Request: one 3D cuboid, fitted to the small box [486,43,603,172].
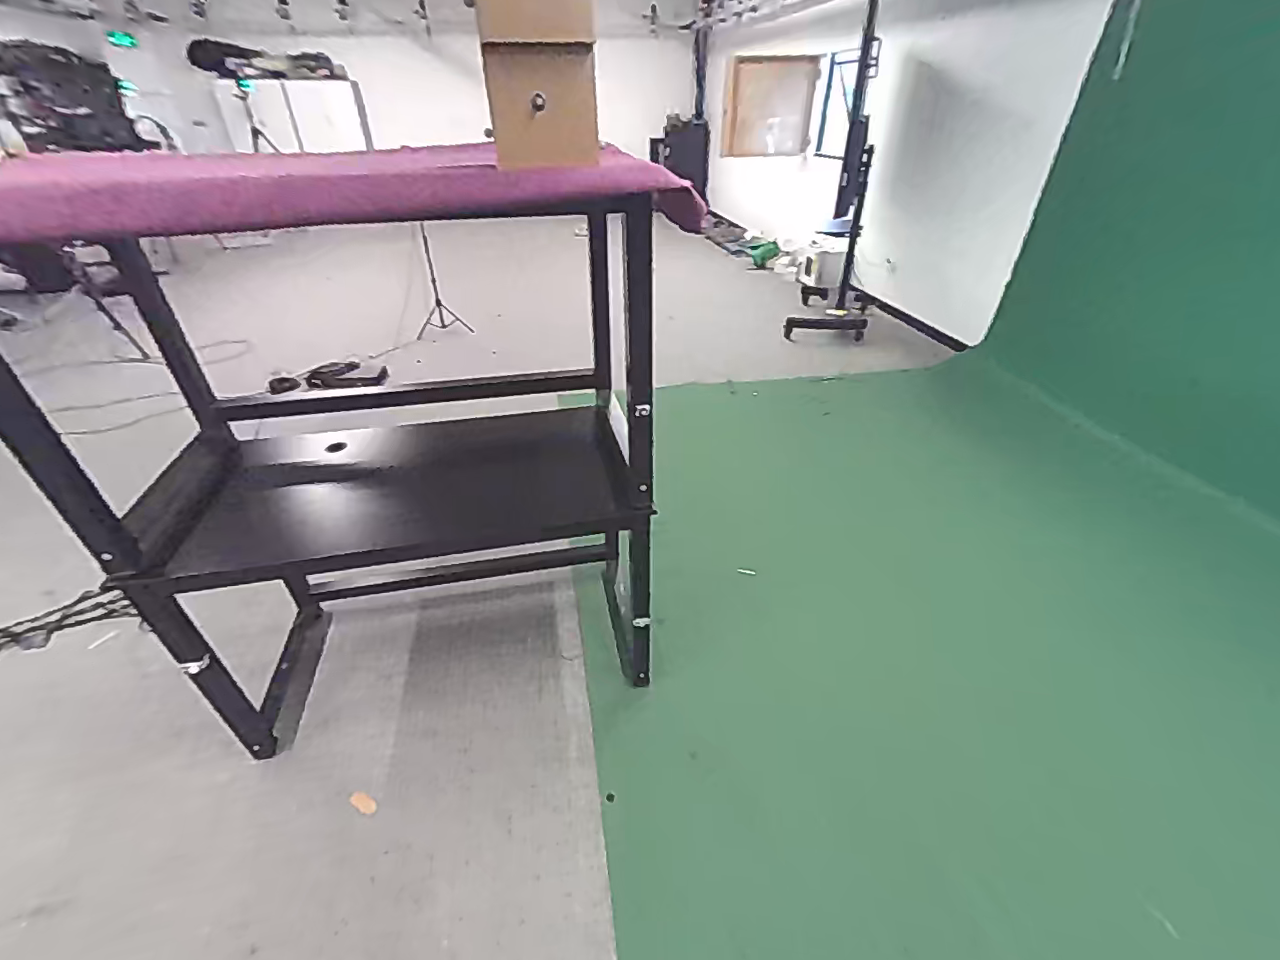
[{"bbox_3d":[-0.159,-0.640,0.933,0.179,0.176,0.168,-7,35,-8],"label":"small box"}]

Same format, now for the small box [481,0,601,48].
[{"bbox_3d":[-0.154,-0.763,0.823,0.179,0.176,0.168,-8,35,-9],"label":"small box"}]
